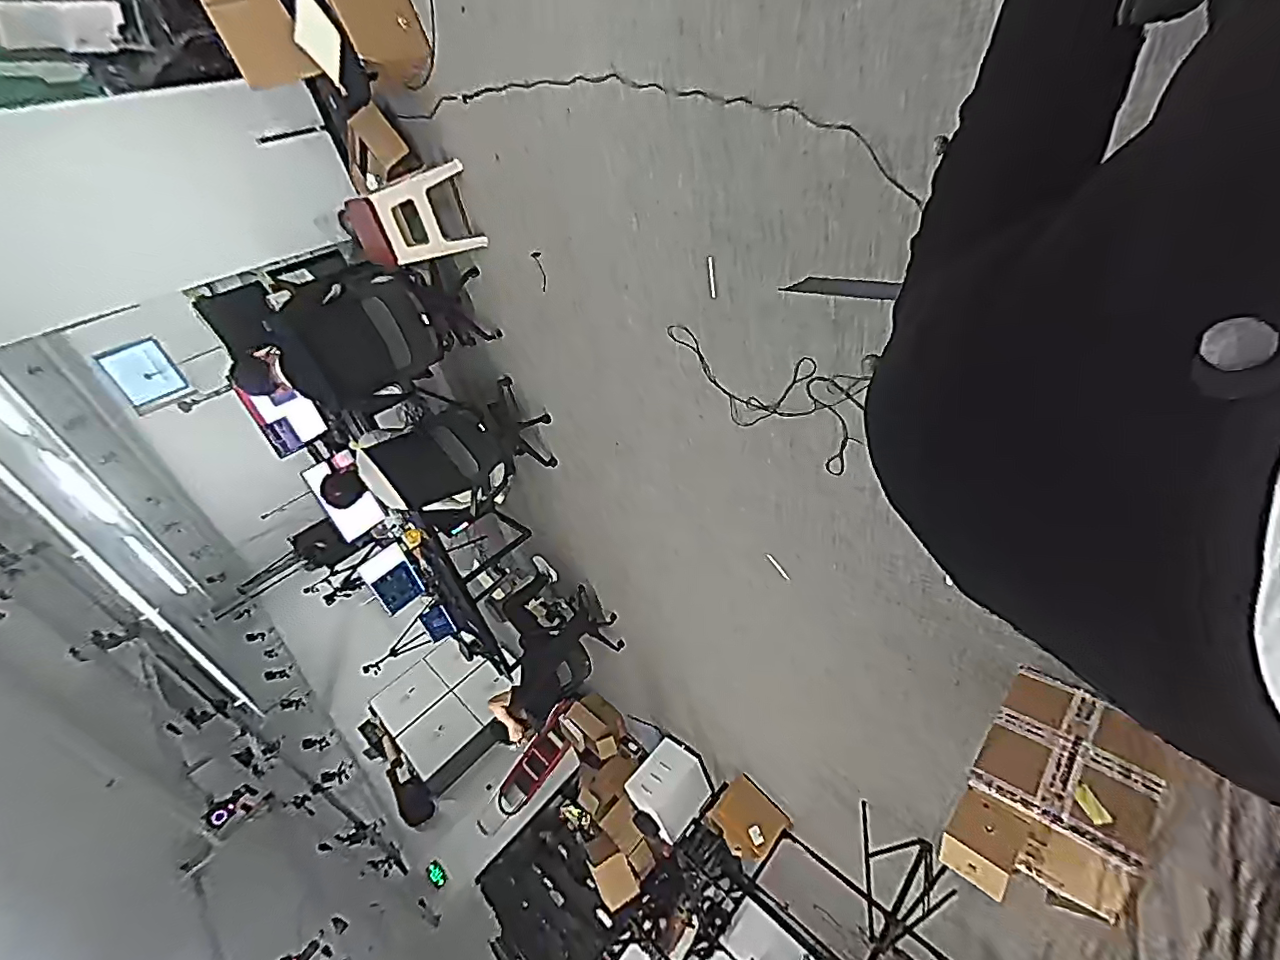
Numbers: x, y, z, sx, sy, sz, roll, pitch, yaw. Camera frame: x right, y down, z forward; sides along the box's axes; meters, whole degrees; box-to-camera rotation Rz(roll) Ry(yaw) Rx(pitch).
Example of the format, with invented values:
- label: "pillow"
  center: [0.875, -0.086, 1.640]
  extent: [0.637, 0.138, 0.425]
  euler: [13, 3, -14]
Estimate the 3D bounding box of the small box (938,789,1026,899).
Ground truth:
- label: "small box"
  center: [0.995, 1.051, 1.574]
  extent: [0.168, 0.176, 0.179]
  euler: [22, 136, 44]
